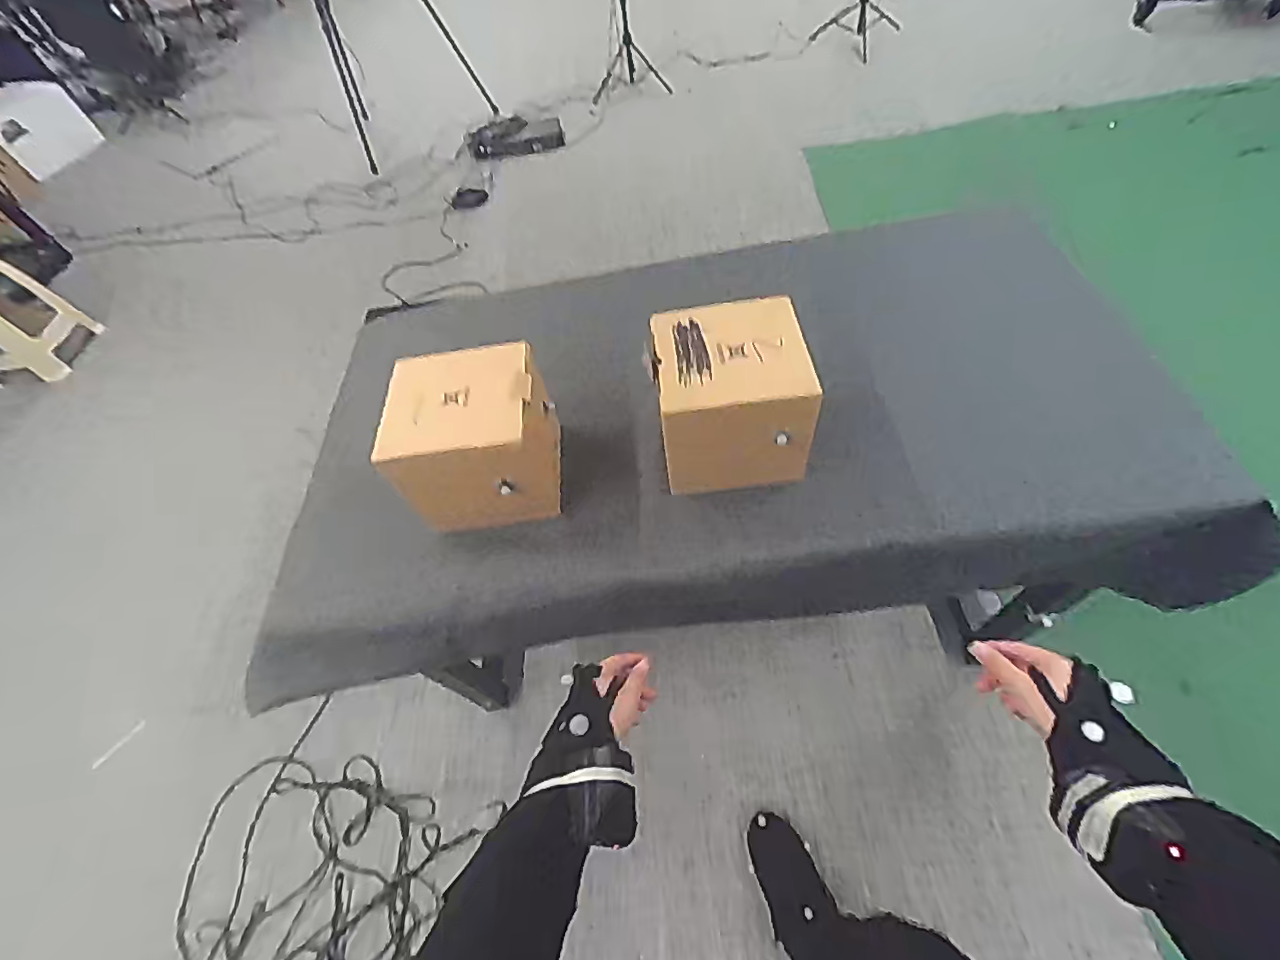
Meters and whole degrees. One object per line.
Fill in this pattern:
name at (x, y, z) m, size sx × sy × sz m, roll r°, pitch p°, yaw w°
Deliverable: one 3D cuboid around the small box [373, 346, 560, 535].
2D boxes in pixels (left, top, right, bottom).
small box at (-0.207, -0.045, 0.705) m, size 0.179 × 0.176 × 0.168 m, roll -8°, pitch 53°, yaw 4°
